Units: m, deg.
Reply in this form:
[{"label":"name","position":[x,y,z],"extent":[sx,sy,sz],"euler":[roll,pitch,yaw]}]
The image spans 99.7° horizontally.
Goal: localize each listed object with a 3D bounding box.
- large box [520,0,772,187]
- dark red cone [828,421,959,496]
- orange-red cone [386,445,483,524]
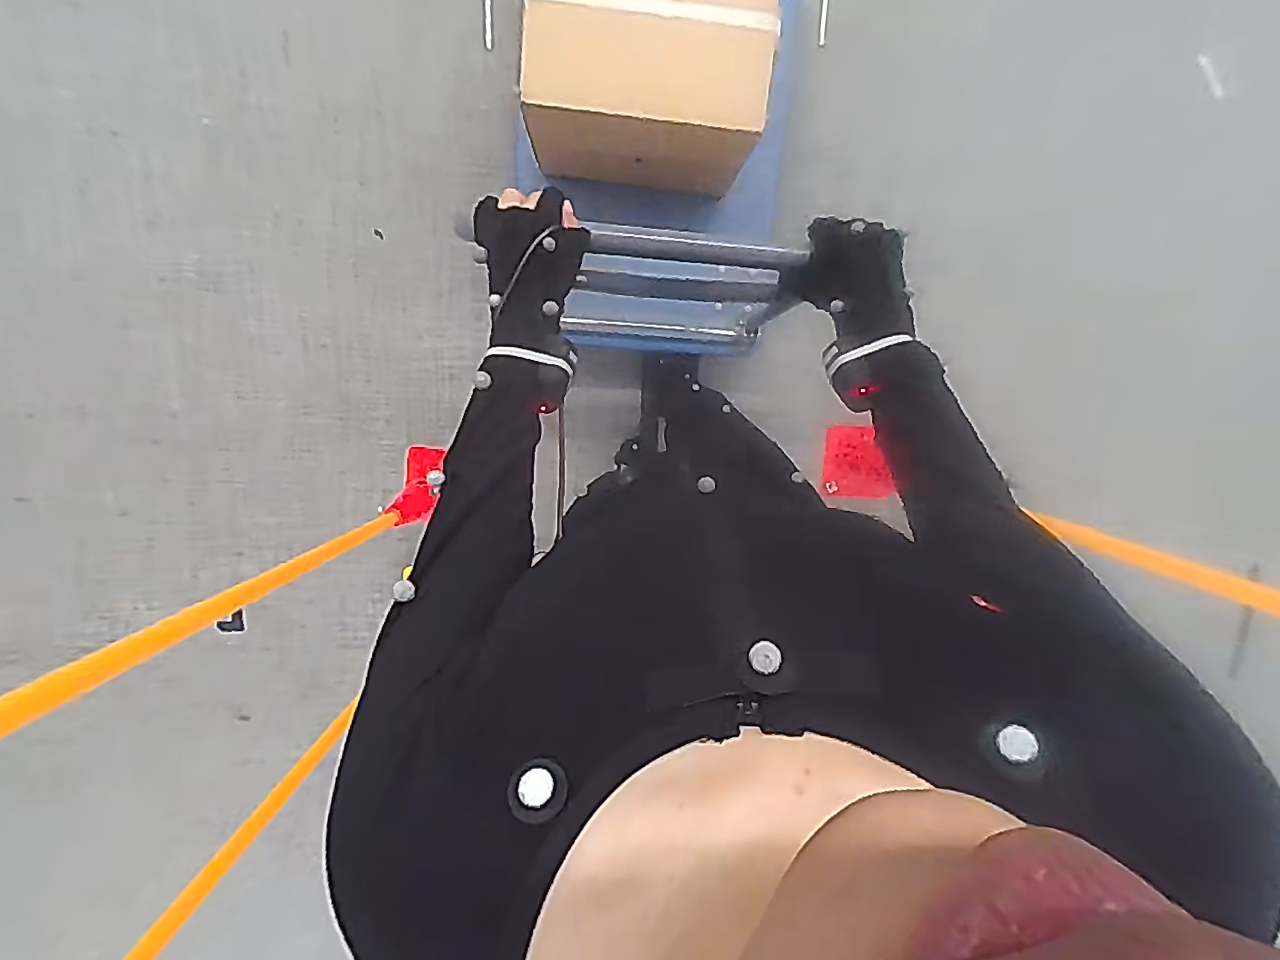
[{"label":"large box","position":[0.007,-0.773,1.007],"extent":[0.408,0.320,0.320],"euler":[4,100,-4]},{"label":"dark red cone","position":[0.621,-0.028,1.301],"extent":[0.201,0.394,0.202],"euler":[0,100,-5]},{"label":"orange-red cone","position":[-0.511,0.039,1.268],"extent":[0.198,0.360,0.199],"euler":[8,98,-6]}]
